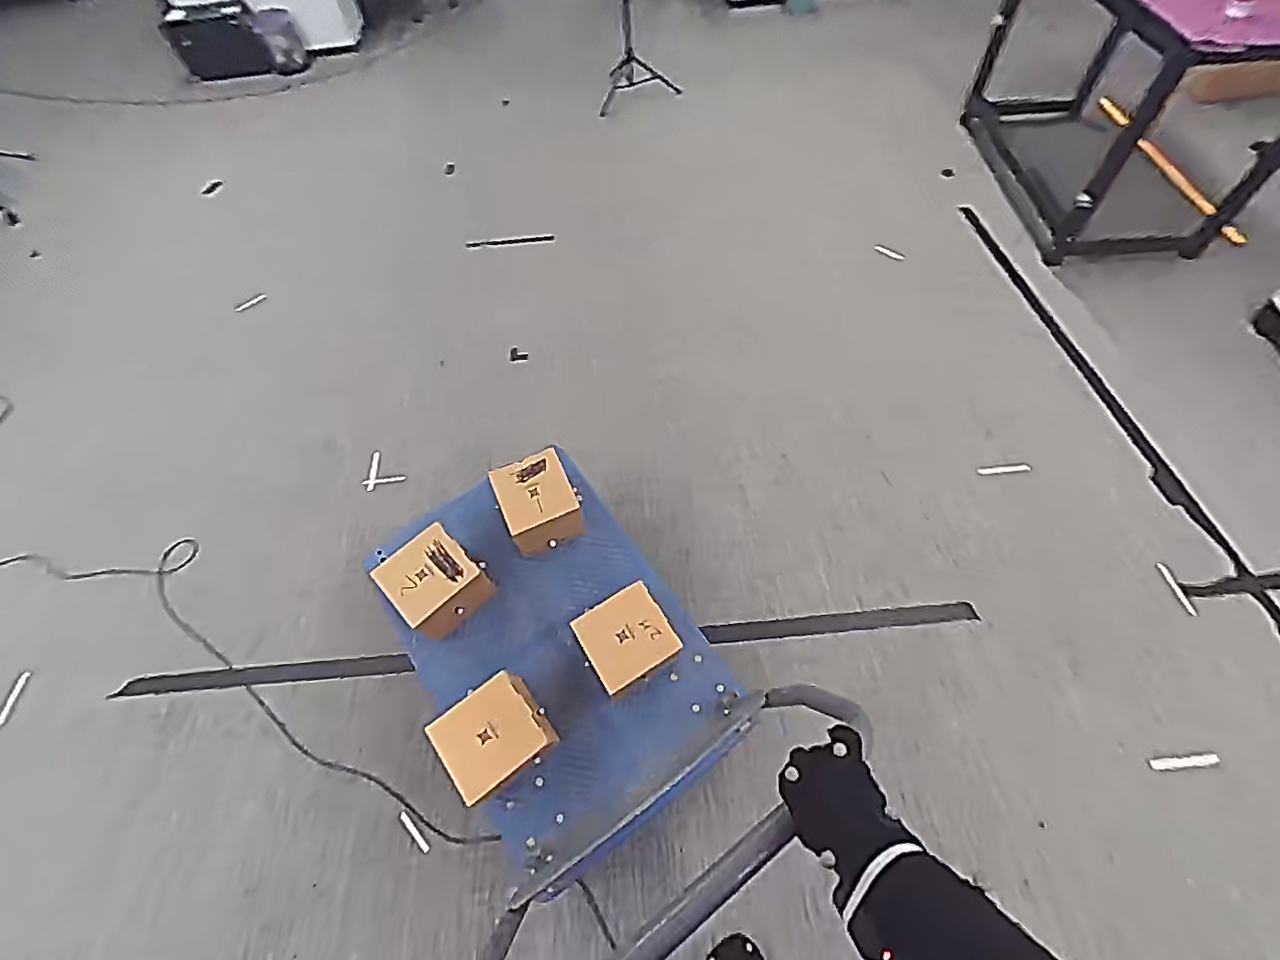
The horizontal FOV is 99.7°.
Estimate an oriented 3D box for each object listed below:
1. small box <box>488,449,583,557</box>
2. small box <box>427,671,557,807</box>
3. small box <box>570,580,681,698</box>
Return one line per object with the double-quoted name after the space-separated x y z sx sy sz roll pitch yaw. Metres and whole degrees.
-0.247 0.060 1.306 0.168 0.176 0.179 -23 67 -11 "small box"
-0.285 0.514 1.079 0.179 0.176 0.168 -36 69 -18 "small box"
-0.028 0.348 1.161 0.179 0.176 0.168 -29 68 -14 "small box"
